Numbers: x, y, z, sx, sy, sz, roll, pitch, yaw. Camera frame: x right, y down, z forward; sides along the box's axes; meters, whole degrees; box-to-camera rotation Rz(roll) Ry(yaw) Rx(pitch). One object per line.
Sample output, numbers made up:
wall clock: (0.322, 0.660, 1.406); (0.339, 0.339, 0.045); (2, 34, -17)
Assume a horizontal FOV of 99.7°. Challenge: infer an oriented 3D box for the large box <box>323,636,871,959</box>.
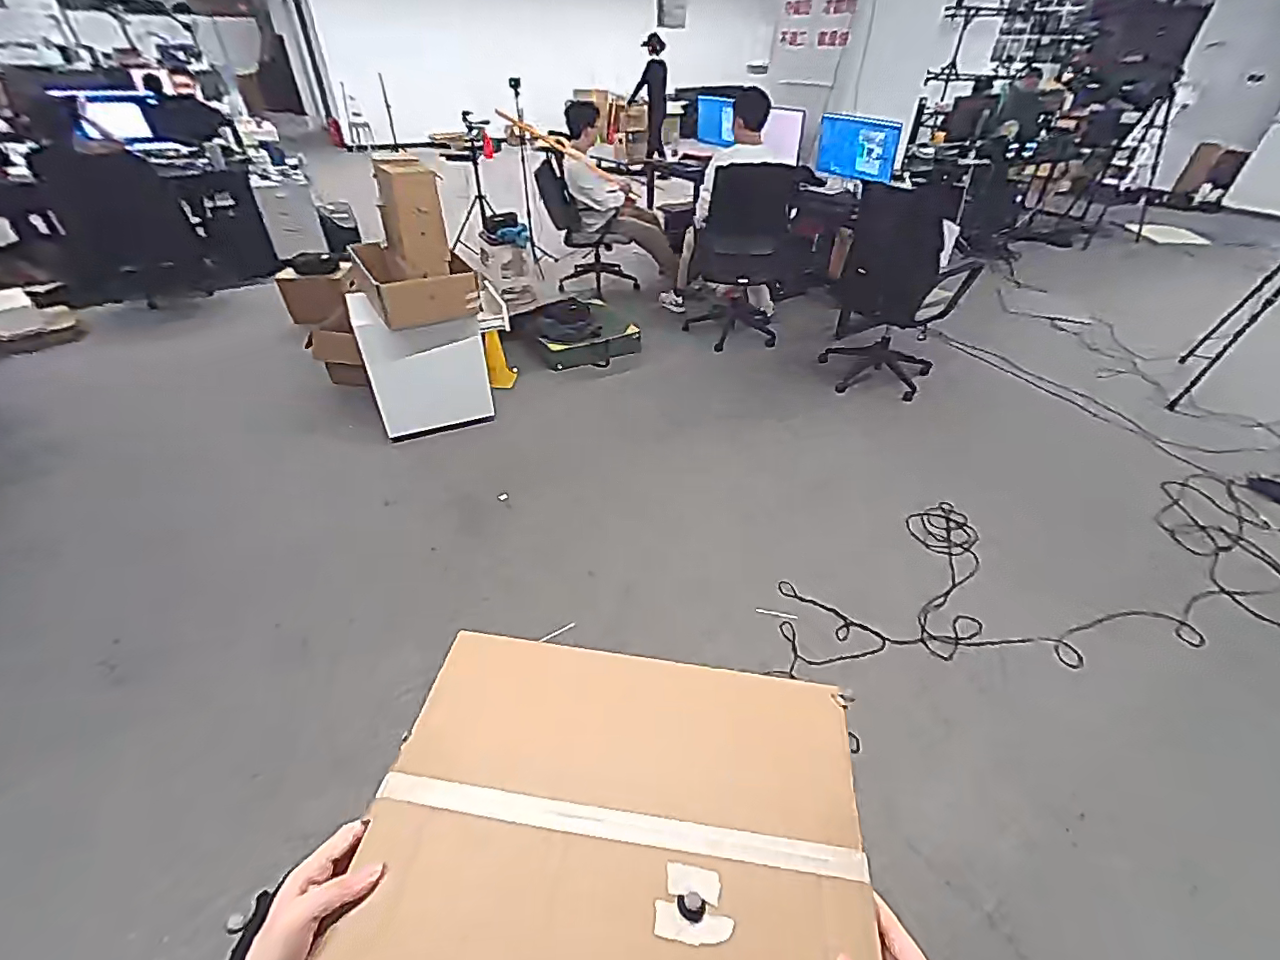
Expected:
large box: (-0.023, 0.402, 0.561); (0.408, 0.320, 0.320); (7, 41, 5)
